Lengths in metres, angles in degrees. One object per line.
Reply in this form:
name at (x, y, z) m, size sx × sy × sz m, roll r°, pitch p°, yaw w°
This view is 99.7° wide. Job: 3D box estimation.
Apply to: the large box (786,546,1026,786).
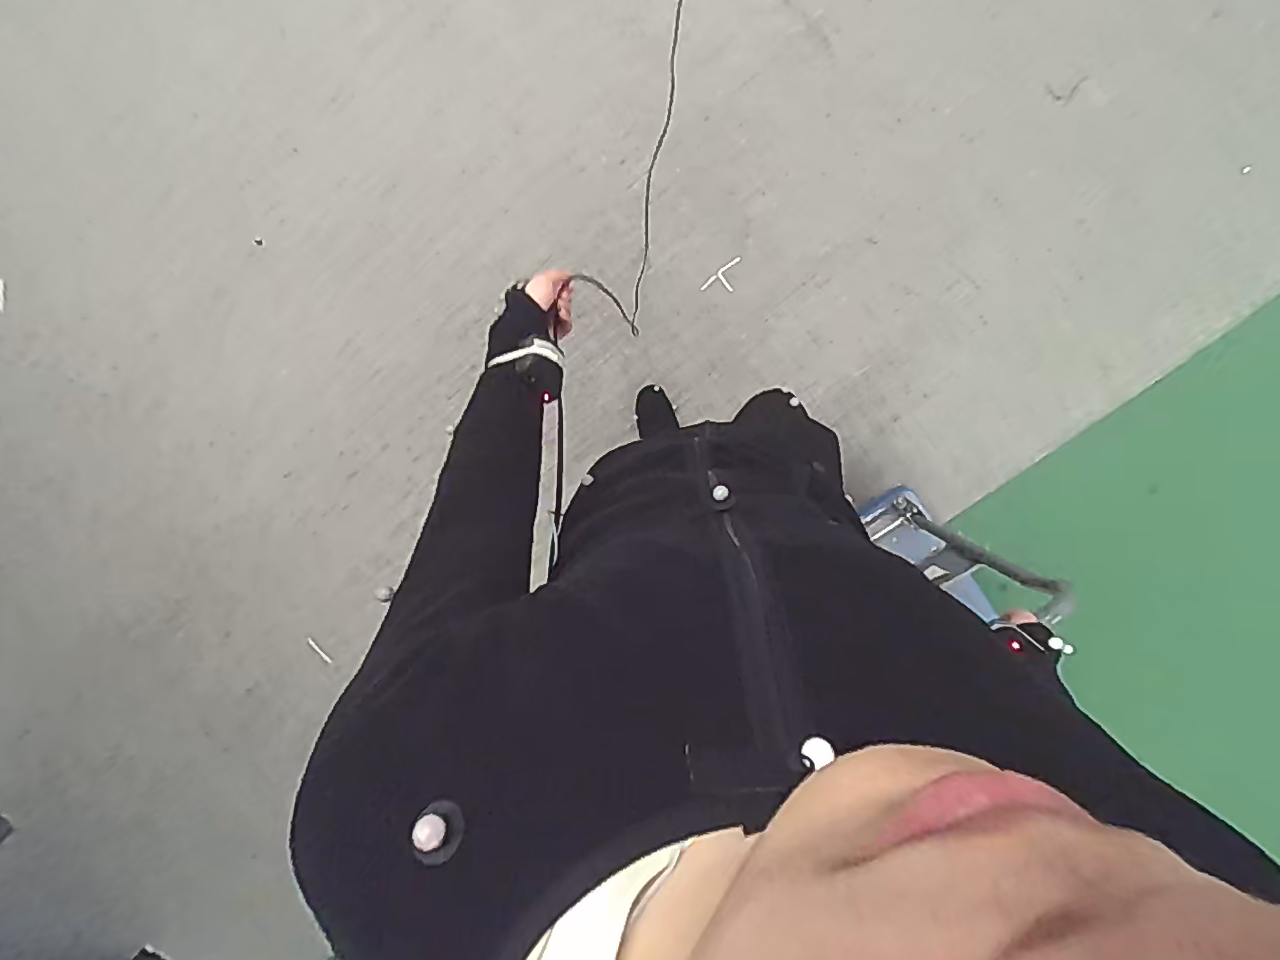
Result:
large box at (0.636, 0.444, 1.359) m, size 0.320 × 0.320 × 0.408 m, roll -36°, pitch 99°, yaw 9°
